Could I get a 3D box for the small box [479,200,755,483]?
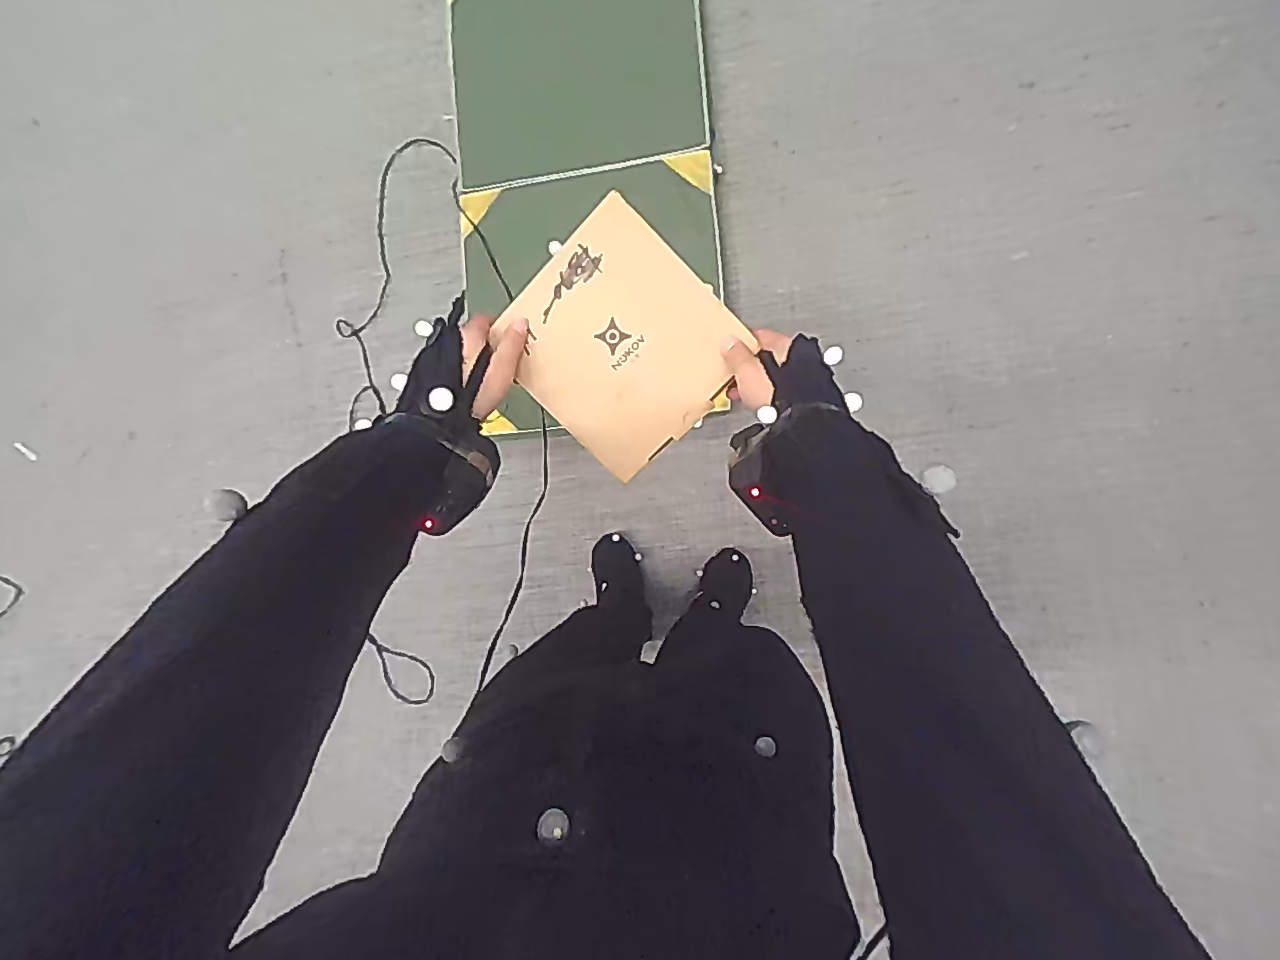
[{"bbox_3d":[-0.016,-0.127,0.529,0.179,0.176,0.168,44,100,-6],"label":"small box"}]
